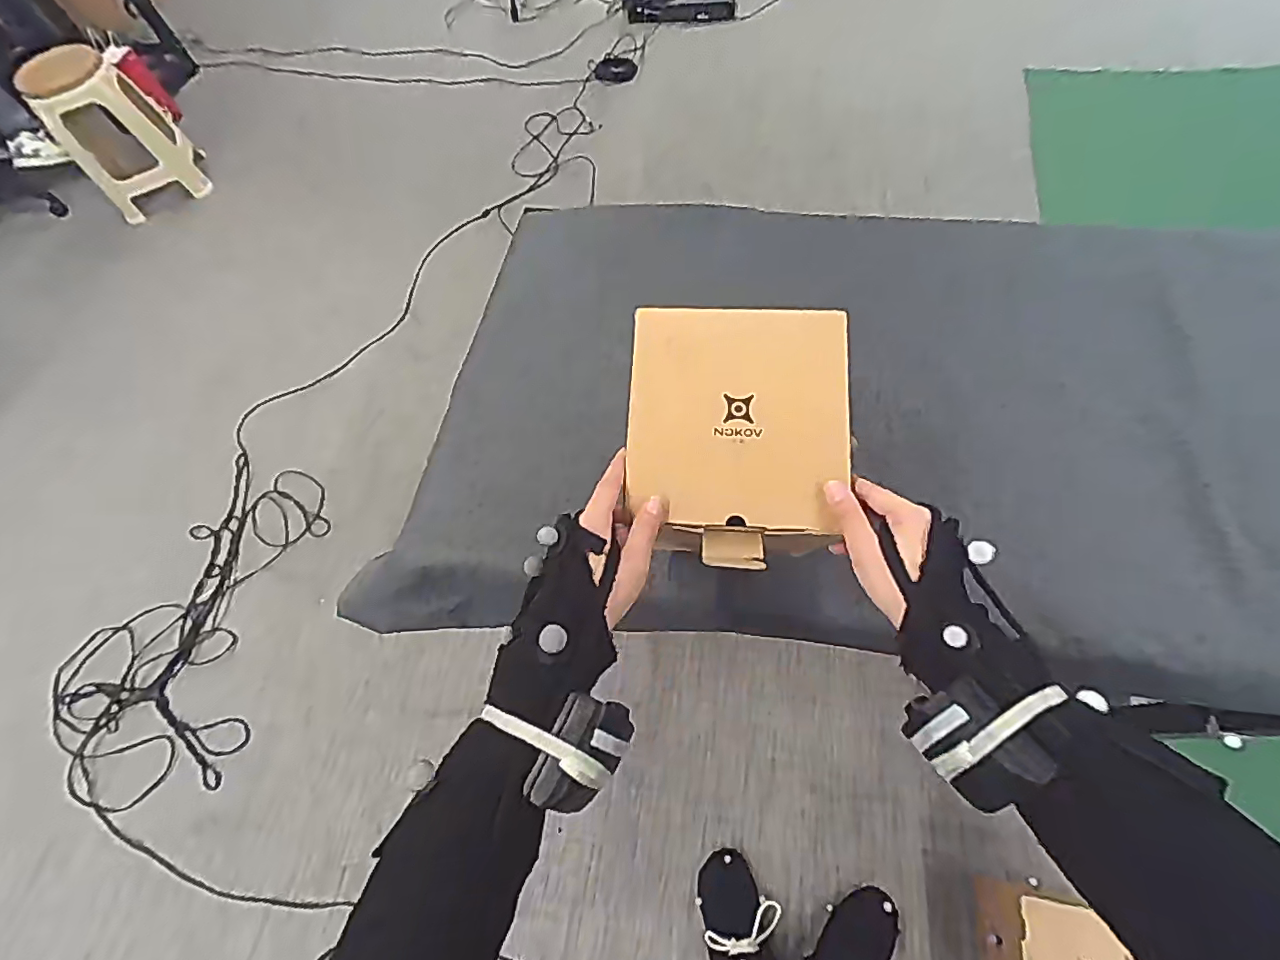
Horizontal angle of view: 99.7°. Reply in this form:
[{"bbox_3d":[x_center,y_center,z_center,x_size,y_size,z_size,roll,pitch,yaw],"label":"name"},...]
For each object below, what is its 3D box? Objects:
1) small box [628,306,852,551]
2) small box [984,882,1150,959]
[{"bbox_3d":[0.080,-0.034,0.489,0.168,0.176,0.179,2,78,4],"label":"small box"},{"bbox_3d":[0.699,0.792,0.897,0.179,0.176,0.168,5,63,9],"label":"small box"}]
